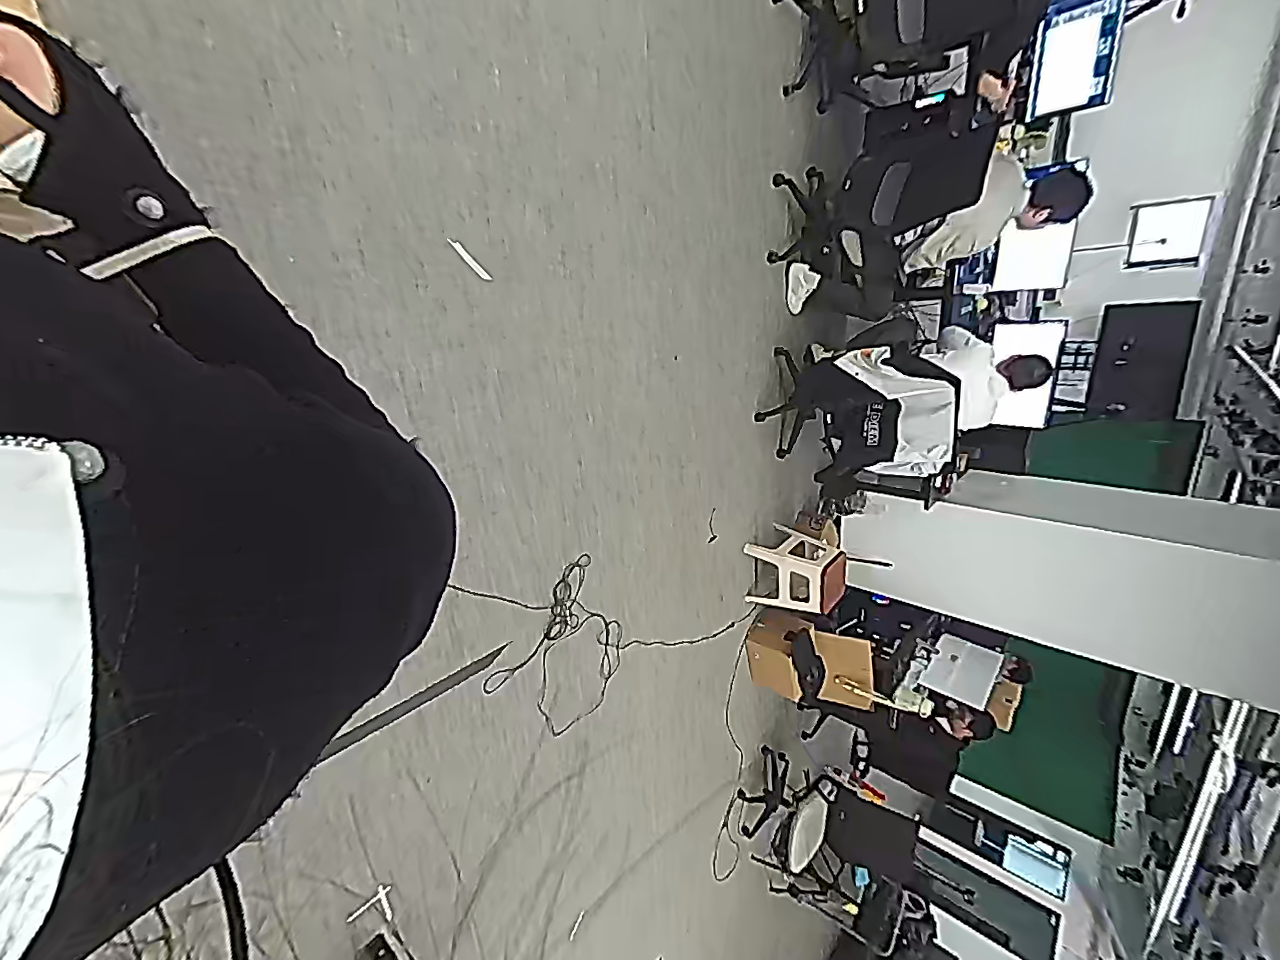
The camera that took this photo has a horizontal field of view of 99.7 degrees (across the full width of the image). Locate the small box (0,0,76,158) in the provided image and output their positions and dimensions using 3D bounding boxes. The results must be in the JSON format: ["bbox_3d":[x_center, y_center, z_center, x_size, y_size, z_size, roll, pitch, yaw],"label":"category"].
[{"bbox_3d":[-0.739,-0.444,0.554,0.179,0.176,0.168,-25,119,-44],"label":"small box"}]
